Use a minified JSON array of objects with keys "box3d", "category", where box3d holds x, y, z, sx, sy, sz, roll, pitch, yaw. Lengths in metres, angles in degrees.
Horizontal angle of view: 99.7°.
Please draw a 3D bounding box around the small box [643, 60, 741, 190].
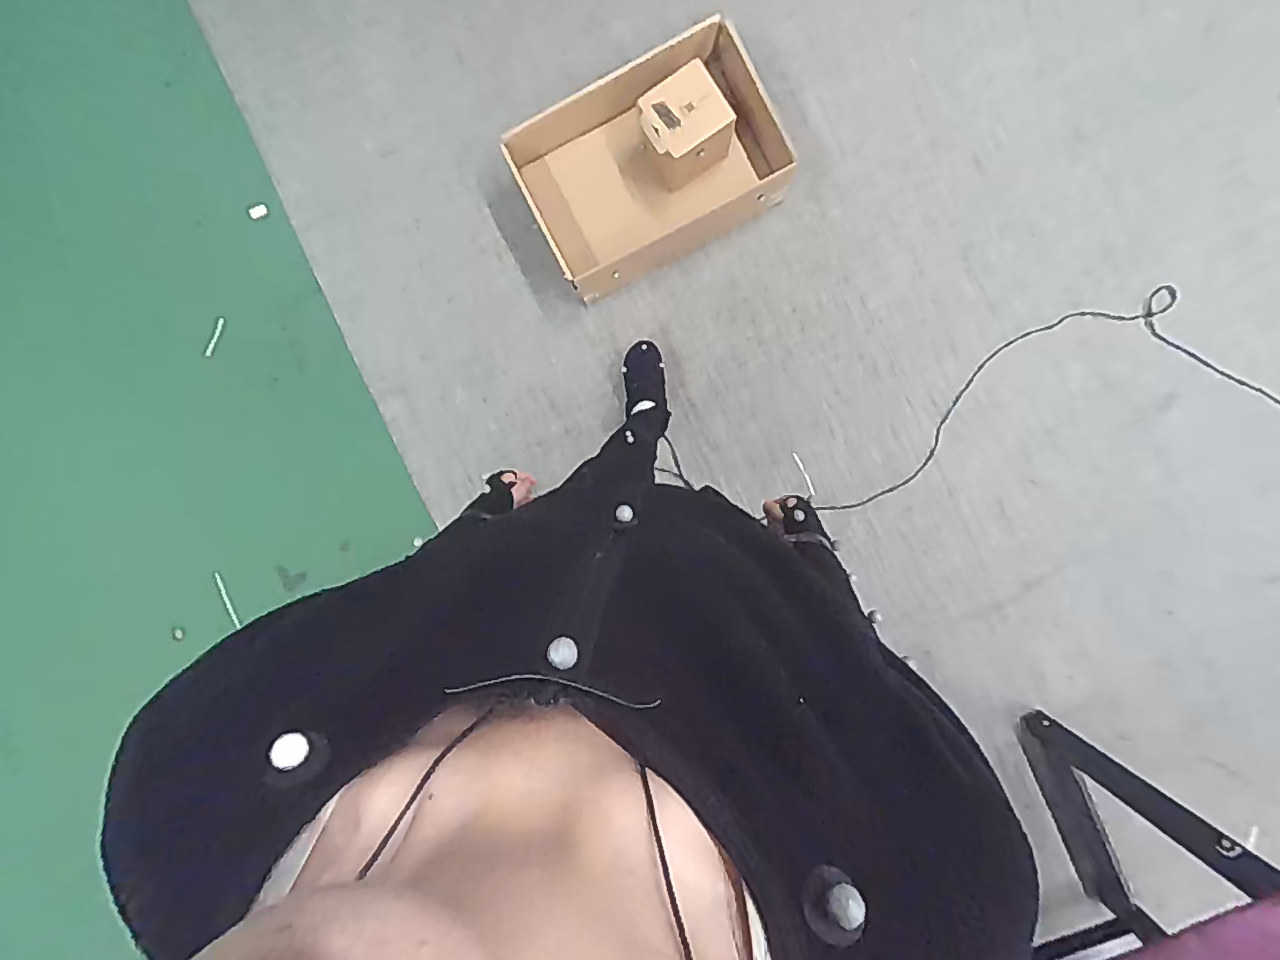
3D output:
[{"box3d":[0.126,-0.860,1.333,0.179,0.176,0.168,-33,91,4],"category":"small box"}]
